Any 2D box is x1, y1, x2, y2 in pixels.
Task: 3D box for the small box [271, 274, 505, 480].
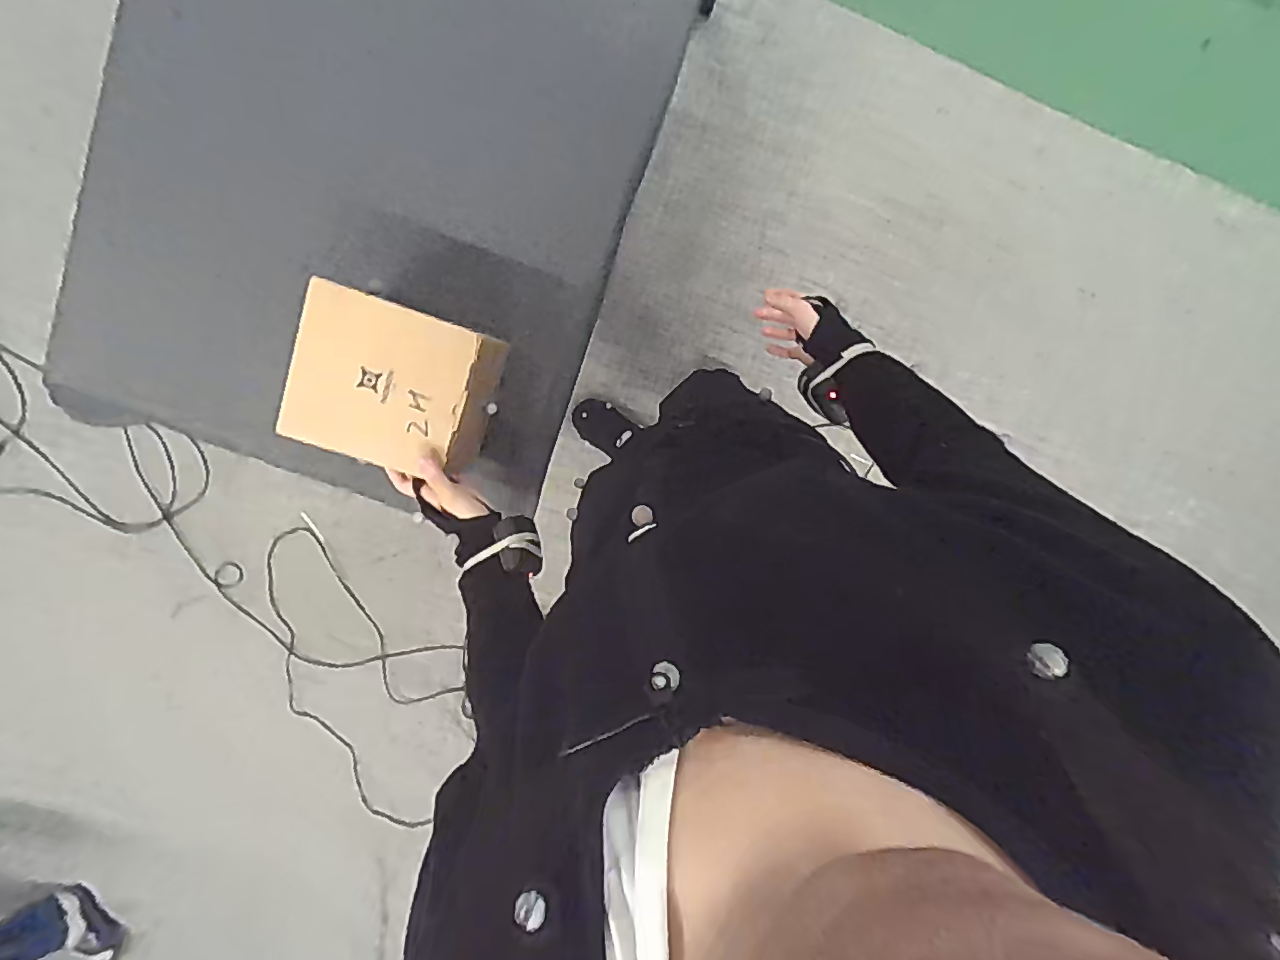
[{"bbox_3d":[-0.275,-0.115,0.627,0.179,0.176,0.168,18,100,-7],"label":"small box"}]
